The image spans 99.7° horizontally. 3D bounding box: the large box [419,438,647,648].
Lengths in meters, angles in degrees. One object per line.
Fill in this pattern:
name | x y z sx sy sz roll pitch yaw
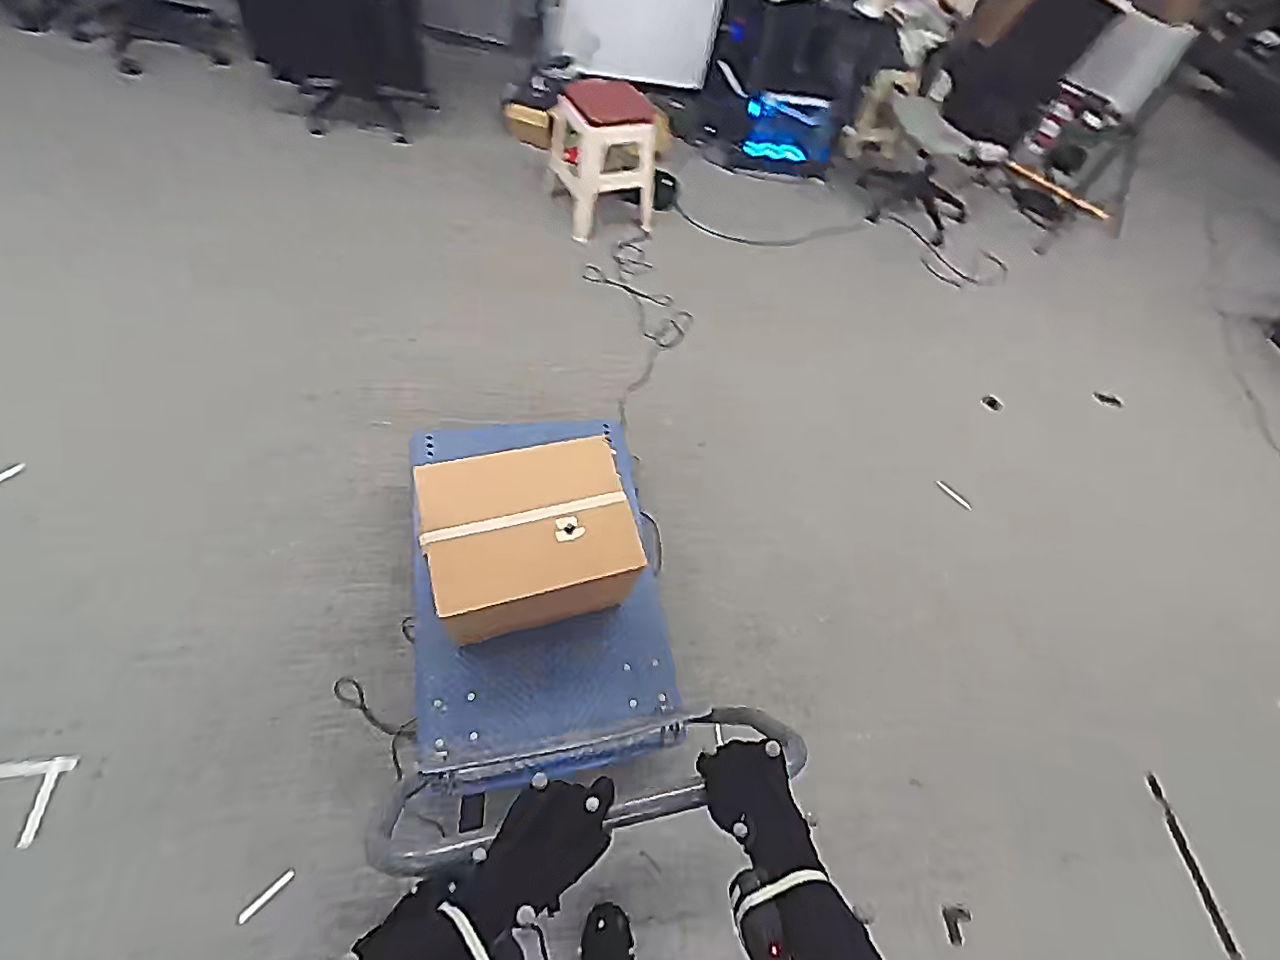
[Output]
large box | -0.244 0.145 1.217 0.408 0.320 0.320 -11 66 -19
